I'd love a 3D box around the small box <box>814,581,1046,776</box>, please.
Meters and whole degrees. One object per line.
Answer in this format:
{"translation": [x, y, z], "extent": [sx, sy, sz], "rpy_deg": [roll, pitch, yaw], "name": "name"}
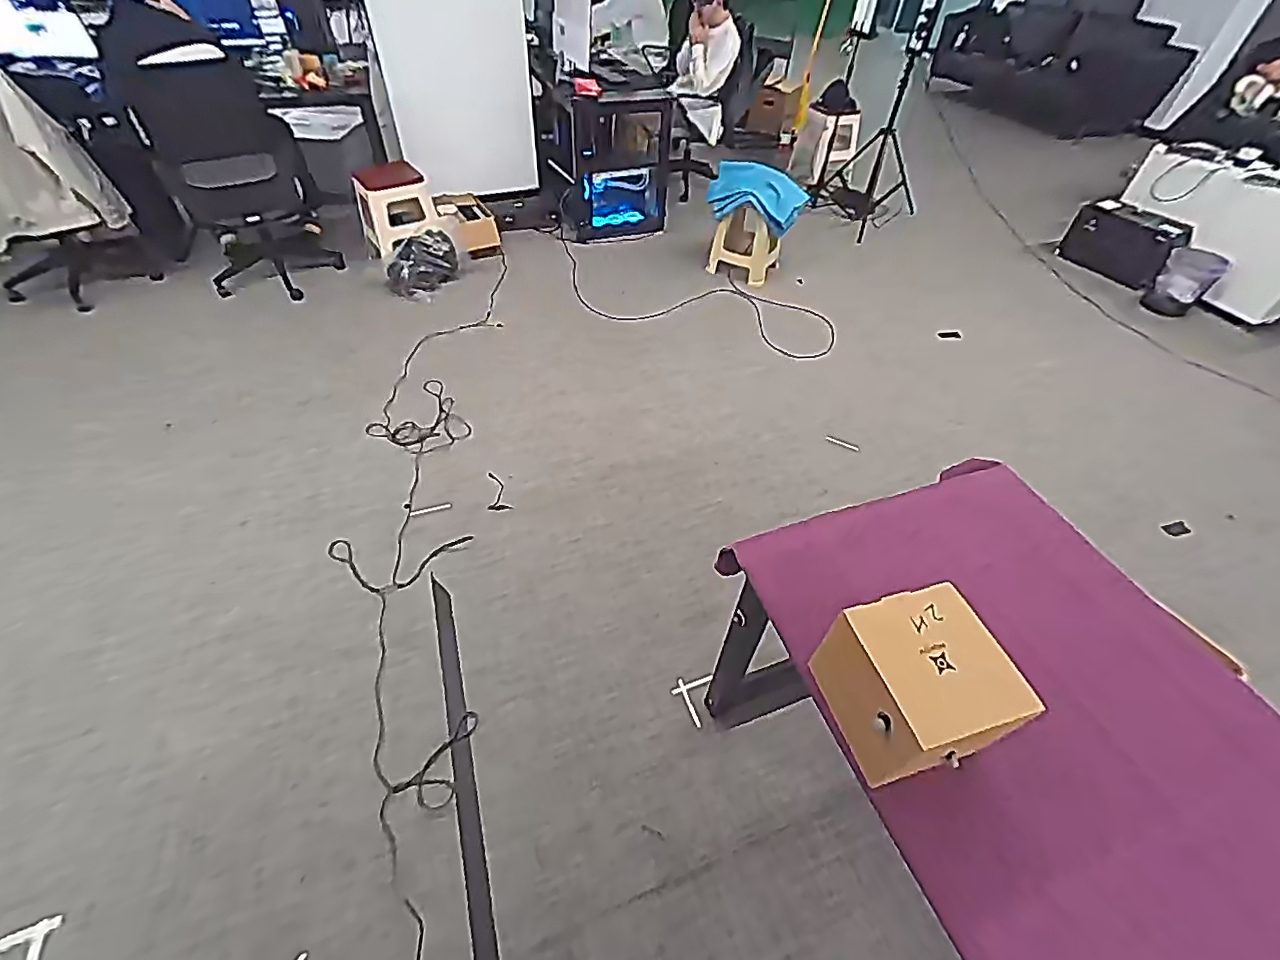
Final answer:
{"translation": [0.356, 0.263, 0.704], "extent": [0.168, 0.176, 0.179], "rpy_deg": [-11, 49, -12], "name": "small box"}
